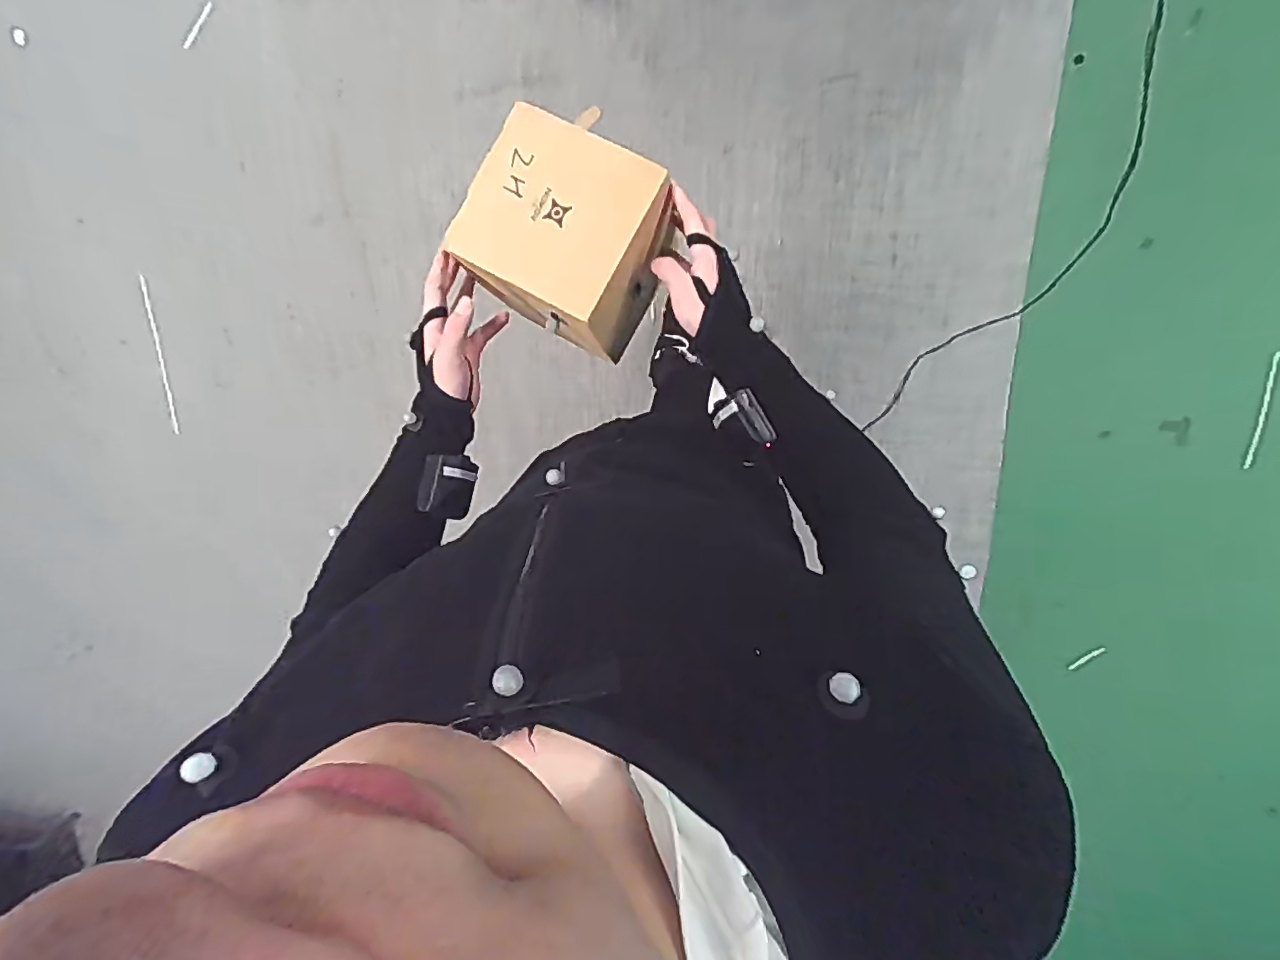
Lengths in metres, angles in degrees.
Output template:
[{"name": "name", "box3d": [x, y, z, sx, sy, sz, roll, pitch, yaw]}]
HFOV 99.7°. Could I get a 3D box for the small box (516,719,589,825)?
[{"name": "small box", "box3d": [-0.231, 0.761, 1.427, 0.168, 0.176, 0.179, 7, 103, 3]}]
